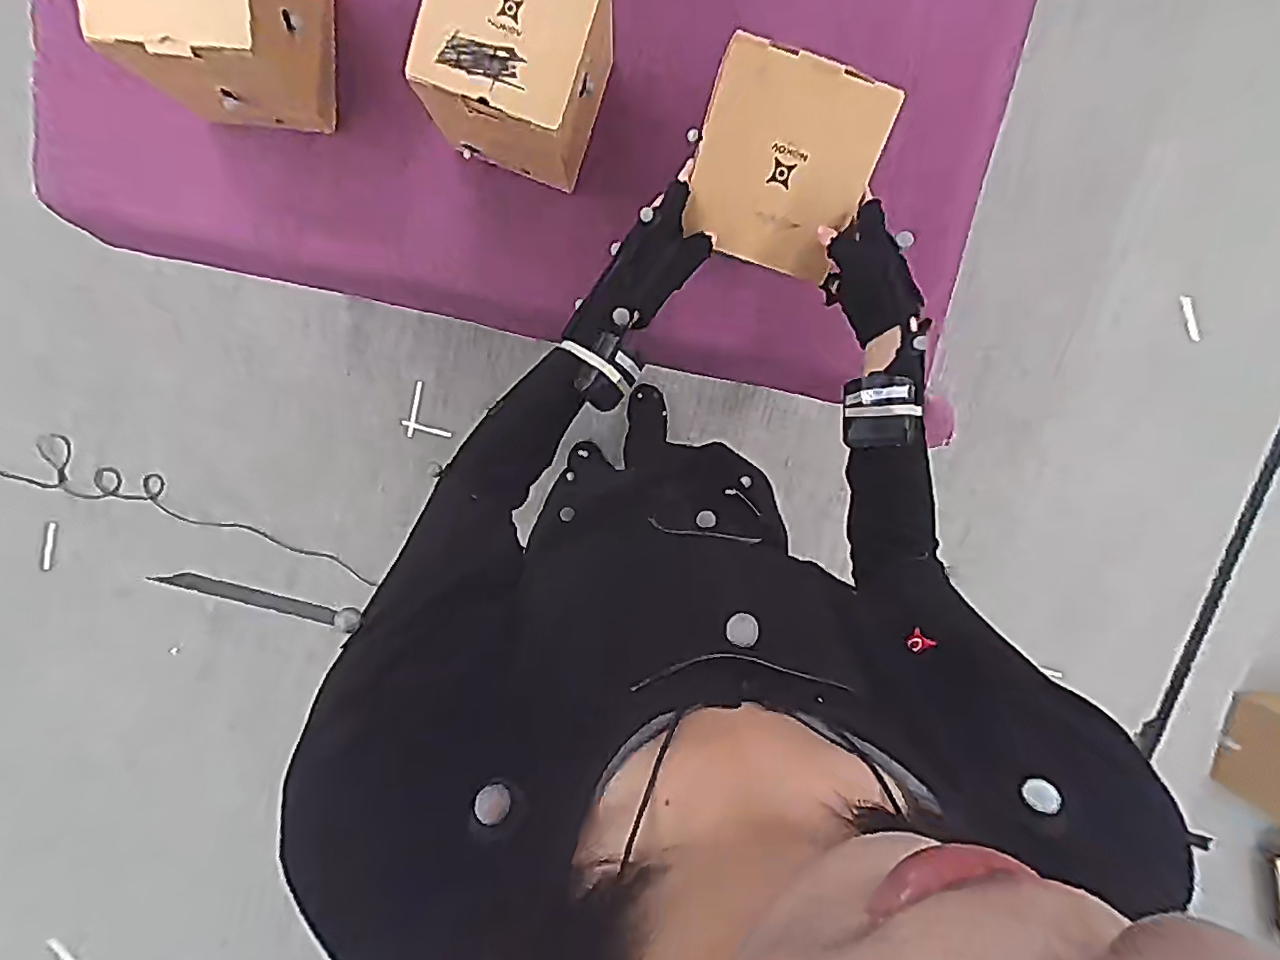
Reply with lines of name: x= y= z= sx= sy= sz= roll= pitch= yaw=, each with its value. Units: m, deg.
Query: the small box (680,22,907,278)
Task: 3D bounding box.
small box: x=0.145 y=-0.342 z=0.589 sx=0.168 sy=0.176 sz=0.179 roll=17 pitch=117 yaw=-4

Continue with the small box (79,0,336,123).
small box: x=-0.458 y=-0.529 z=0.596 sx=0.168 sy=0.176 sz=0.179 roll=4 pitch=99 yaw=-4

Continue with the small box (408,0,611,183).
small box: x=-0.133 y=-0.479 z=0.619 sx=0.168 sy=0.176 sz=0.179 roll=19 pitch=97 yaw=-6
